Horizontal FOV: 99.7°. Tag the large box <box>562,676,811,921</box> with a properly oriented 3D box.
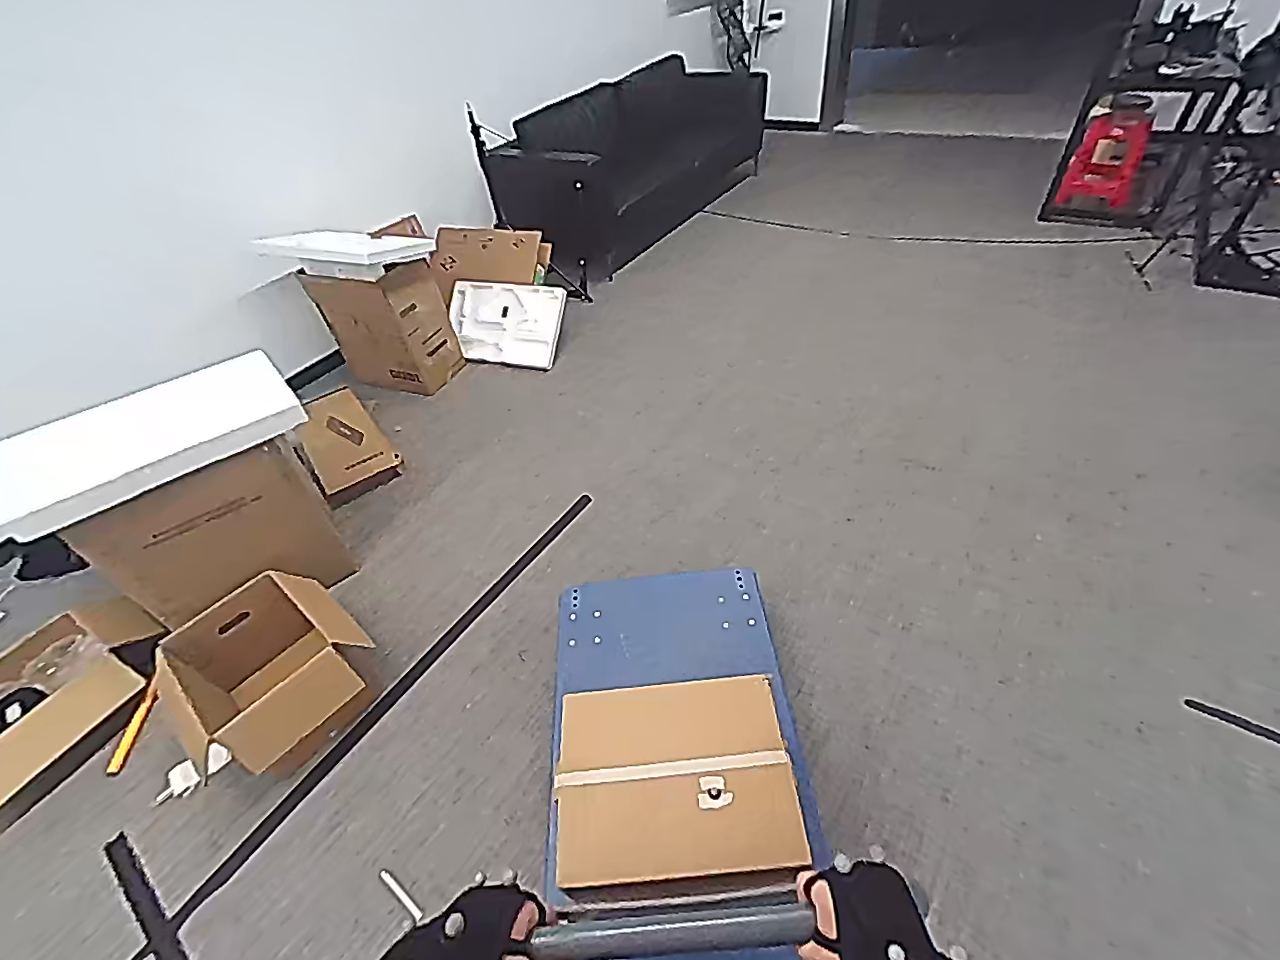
[{"bbox_3d":[0.073,0.620,1.052,0.408,0.320,0.320,-6,45,1],"label":"large box"}]
